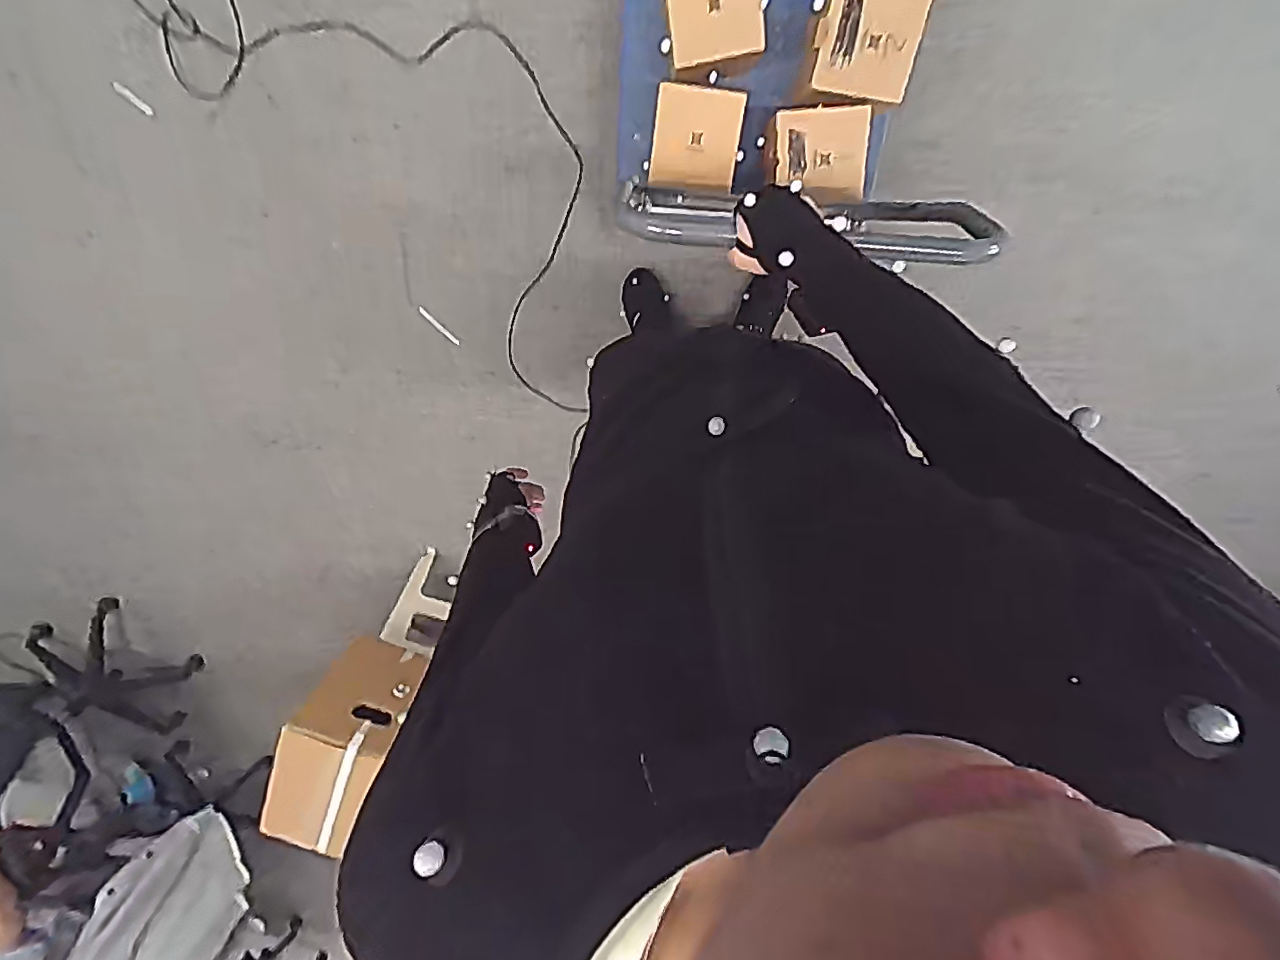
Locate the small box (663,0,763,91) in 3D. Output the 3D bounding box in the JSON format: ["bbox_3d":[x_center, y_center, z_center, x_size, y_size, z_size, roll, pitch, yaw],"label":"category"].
[{"bbox_3d":[0.135,-0.864,1.024,0.168,0.176,0.179,-8,114,5],"label":"small box"}]
